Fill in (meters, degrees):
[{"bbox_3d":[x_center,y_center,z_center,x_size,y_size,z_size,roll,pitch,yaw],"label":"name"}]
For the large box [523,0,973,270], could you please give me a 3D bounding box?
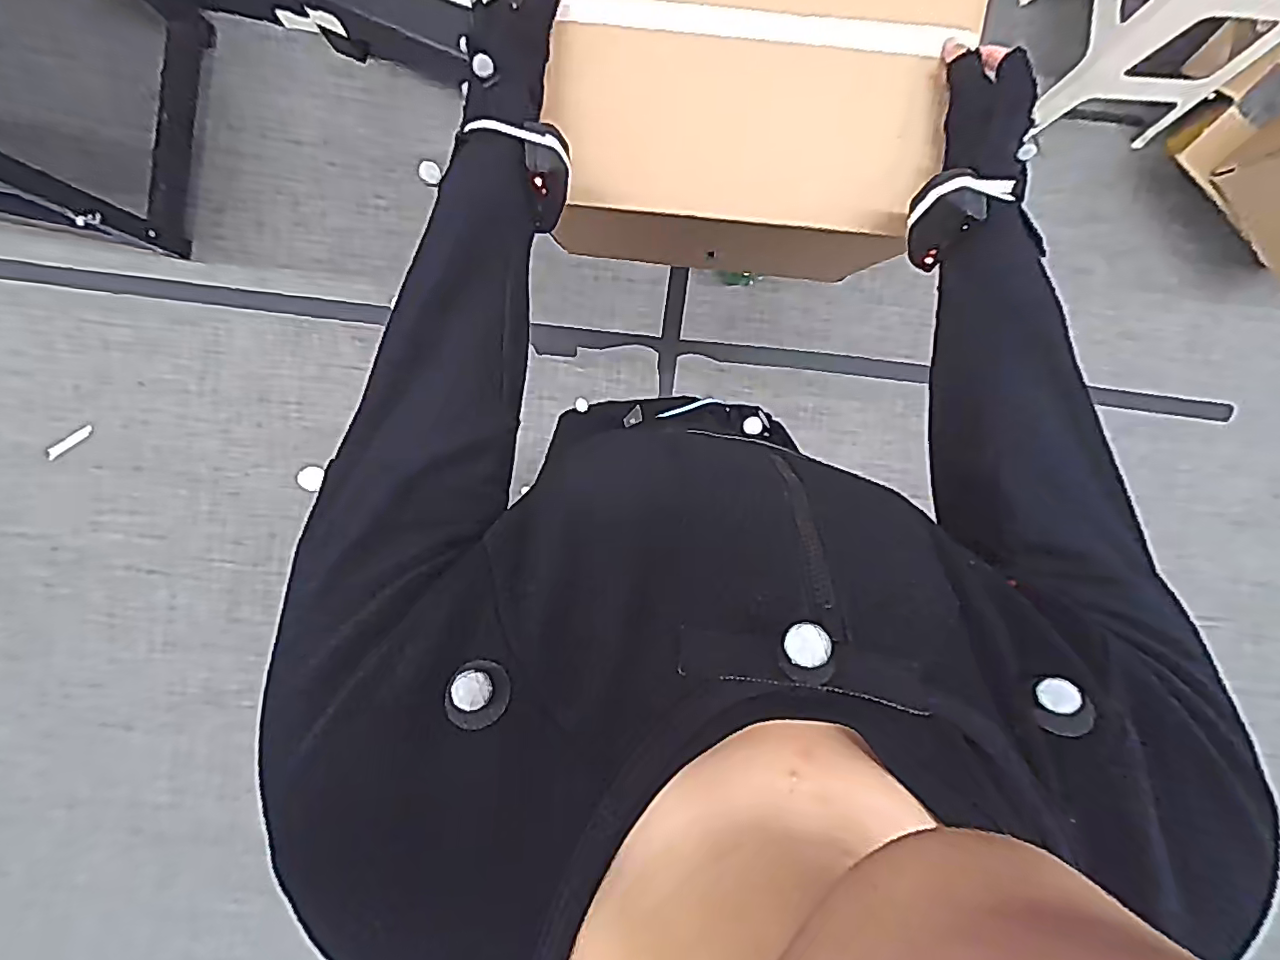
[{"bbox_3d":[0.101,-0.440,0.636,0.408,0.320,0.320,6,103,0],"label":"large box"}]
